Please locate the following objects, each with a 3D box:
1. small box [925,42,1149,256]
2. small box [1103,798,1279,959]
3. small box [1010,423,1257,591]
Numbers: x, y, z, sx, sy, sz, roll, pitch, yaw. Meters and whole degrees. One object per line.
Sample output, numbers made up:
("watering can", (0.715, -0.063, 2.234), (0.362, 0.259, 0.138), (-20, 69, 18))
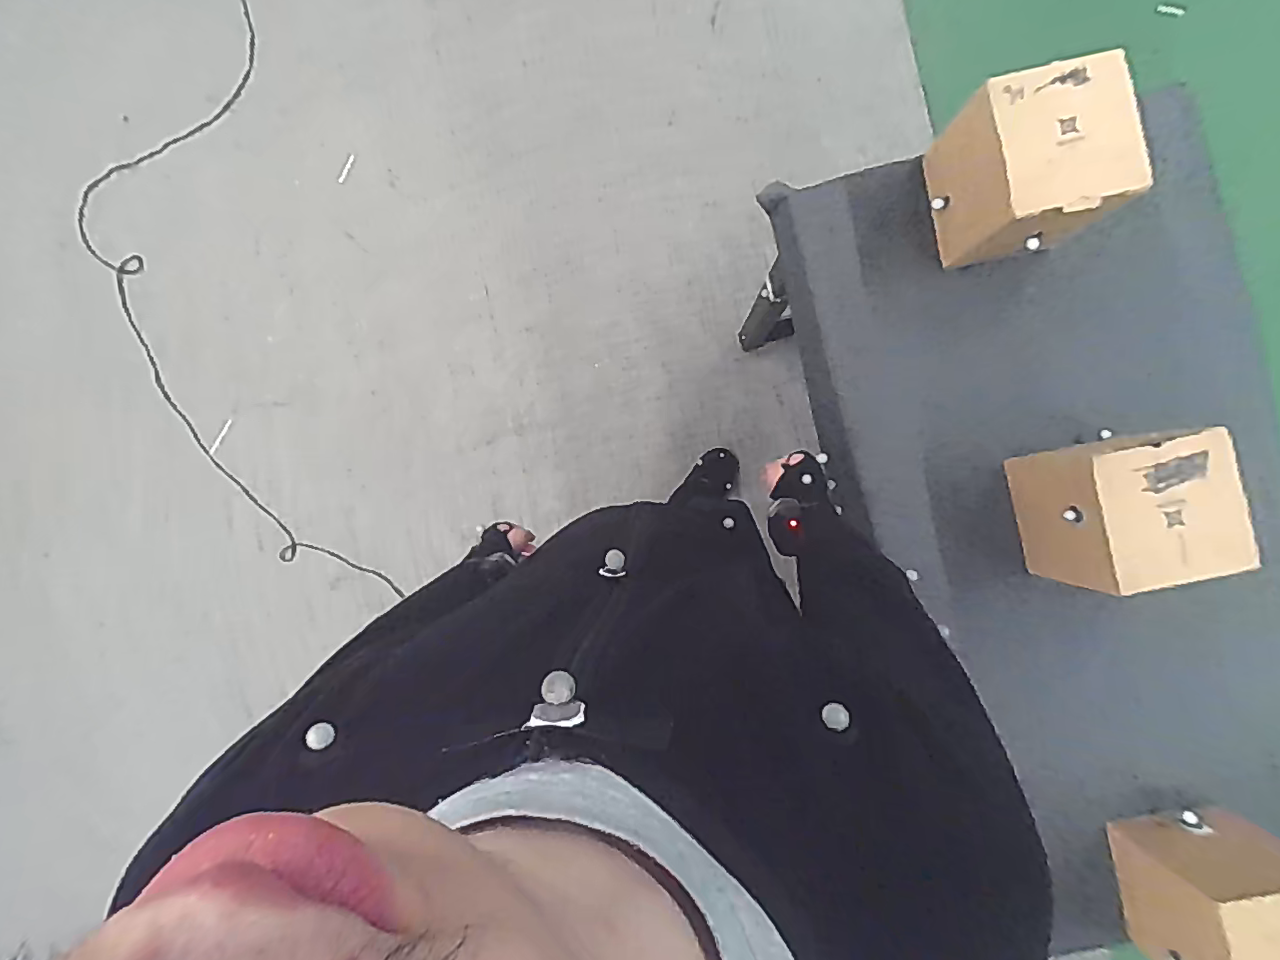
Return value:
("small box", (0.511, -0.419, 0.722), (0.168, 0.176, 0.179), (-11, 91, 3))
("small box", (0.775, 0.565, 0.718), (0.168, 0.176, 0.179), (-11, 89, 2))
("small box", (0.634, 0.032, 0.721), (0.168, 0.176, 0.179), (-13, 91, 3))
